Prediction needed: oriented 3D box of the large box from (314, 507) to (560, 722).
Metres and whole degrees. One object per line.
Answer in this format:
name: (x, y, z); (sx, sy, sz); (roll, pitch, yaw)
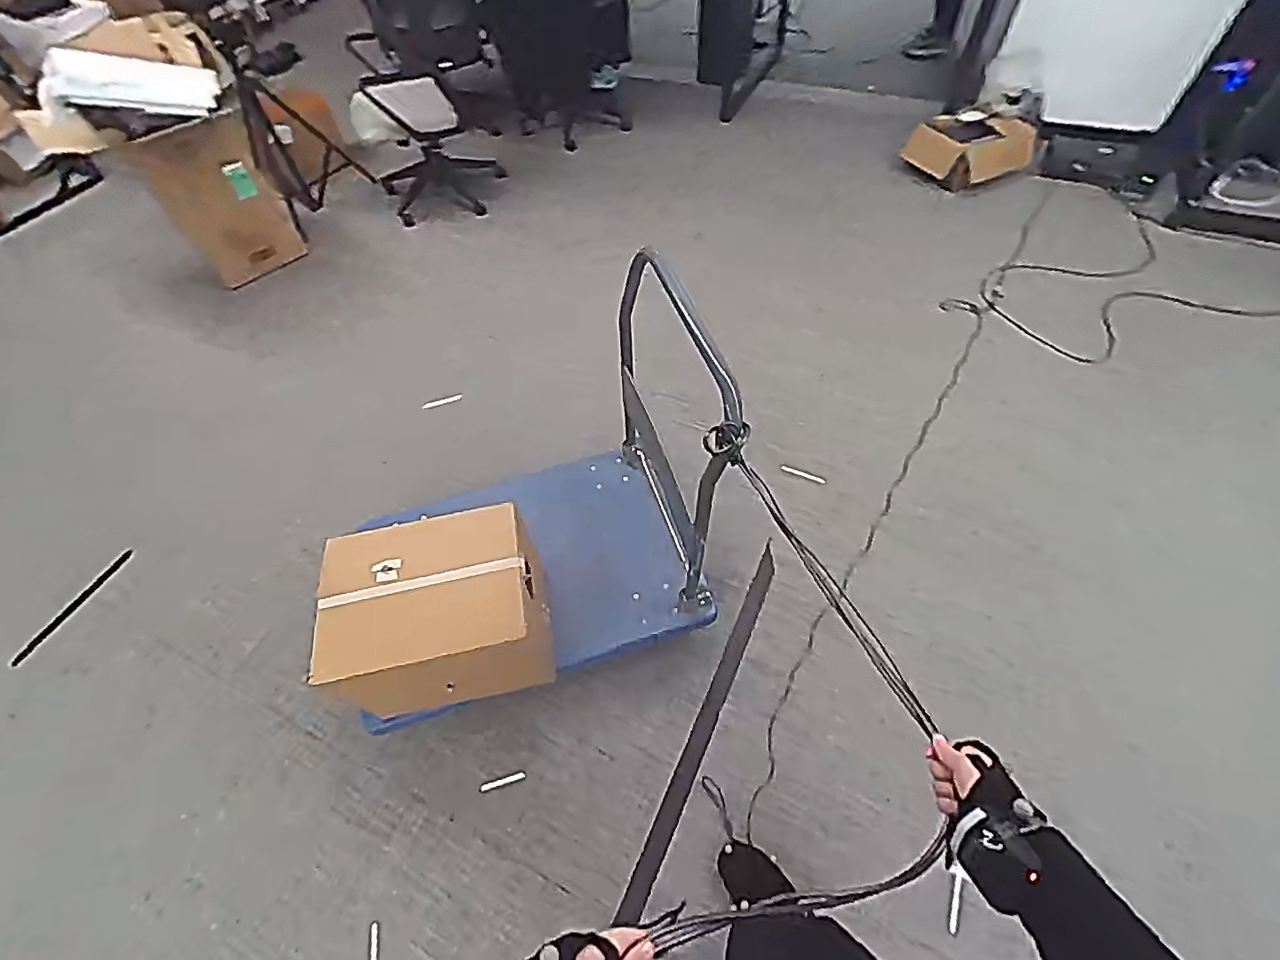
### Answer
large box: (-0.420, 0.305, 1.197); (0.408, 0.320, 0.320); (-13, 55, -4)
